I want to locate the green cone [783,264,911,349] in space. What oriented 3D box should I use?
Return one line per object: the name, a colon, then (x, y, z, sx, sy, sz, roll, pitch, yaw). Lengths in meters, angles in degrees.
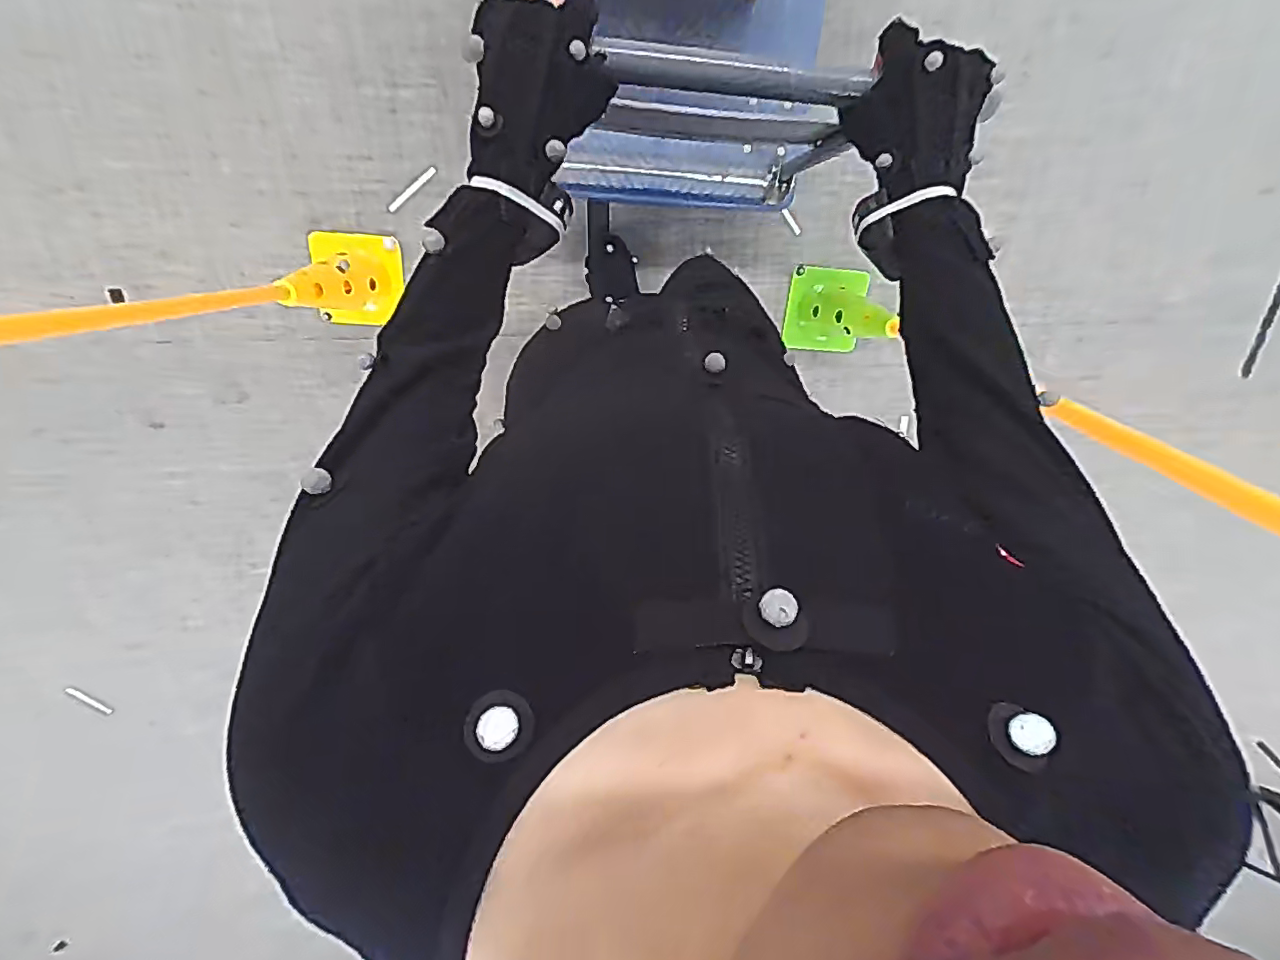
green cone: (0.487, -0.370, 1.218, 0.202, 0.368, 0.200, 2, 113, -7)
